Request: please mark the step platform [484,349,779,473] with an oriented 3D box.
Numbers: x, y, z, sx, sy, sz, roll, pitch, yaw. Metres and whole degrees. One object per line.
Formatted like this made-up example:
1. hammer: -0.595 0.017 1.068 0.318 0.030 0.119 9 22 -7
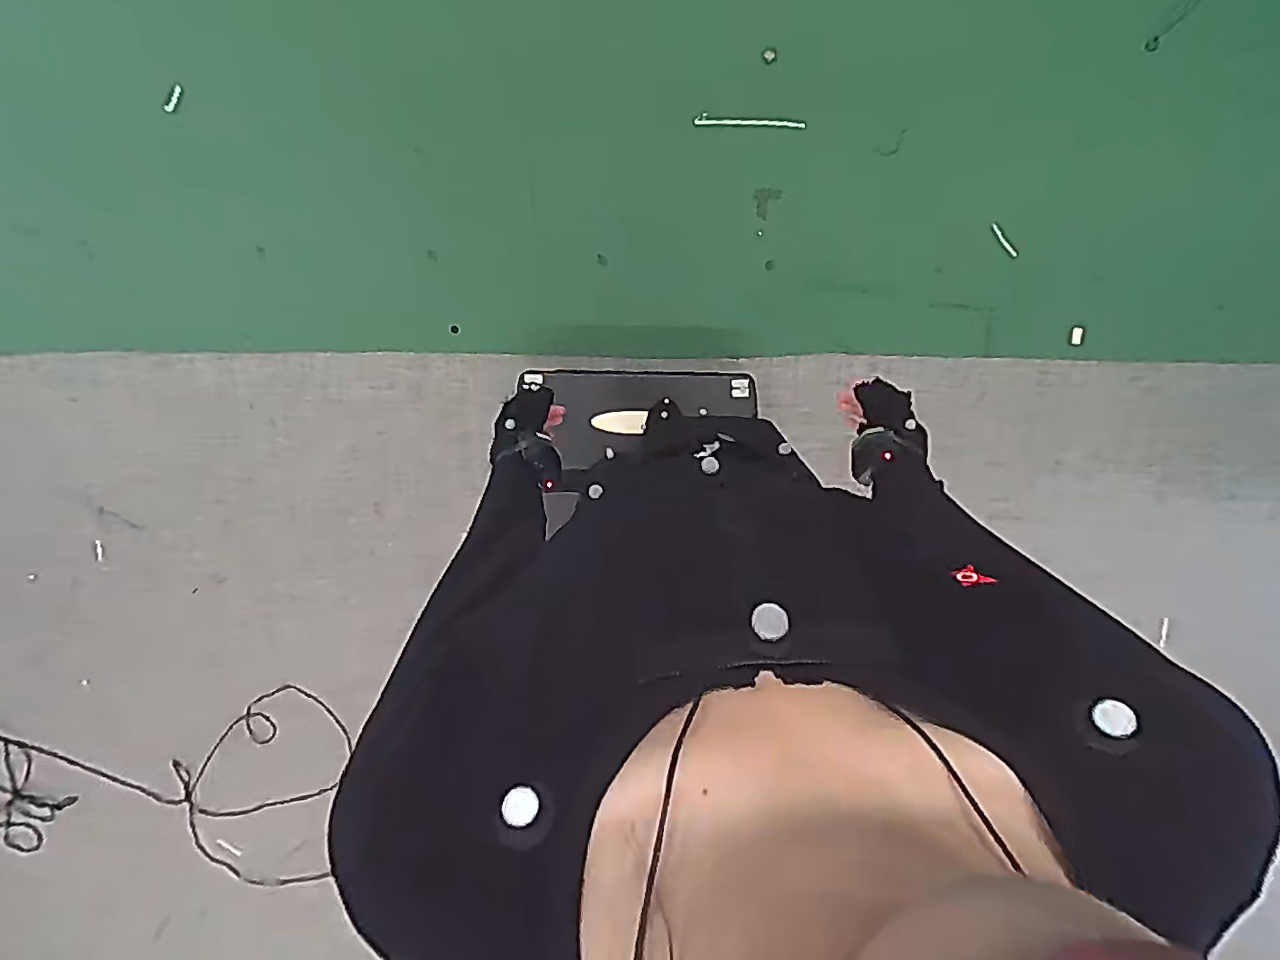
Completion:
1. step platform: -0.019 -0.172 1.341 0.684 0.204 0.286 0 99 0
